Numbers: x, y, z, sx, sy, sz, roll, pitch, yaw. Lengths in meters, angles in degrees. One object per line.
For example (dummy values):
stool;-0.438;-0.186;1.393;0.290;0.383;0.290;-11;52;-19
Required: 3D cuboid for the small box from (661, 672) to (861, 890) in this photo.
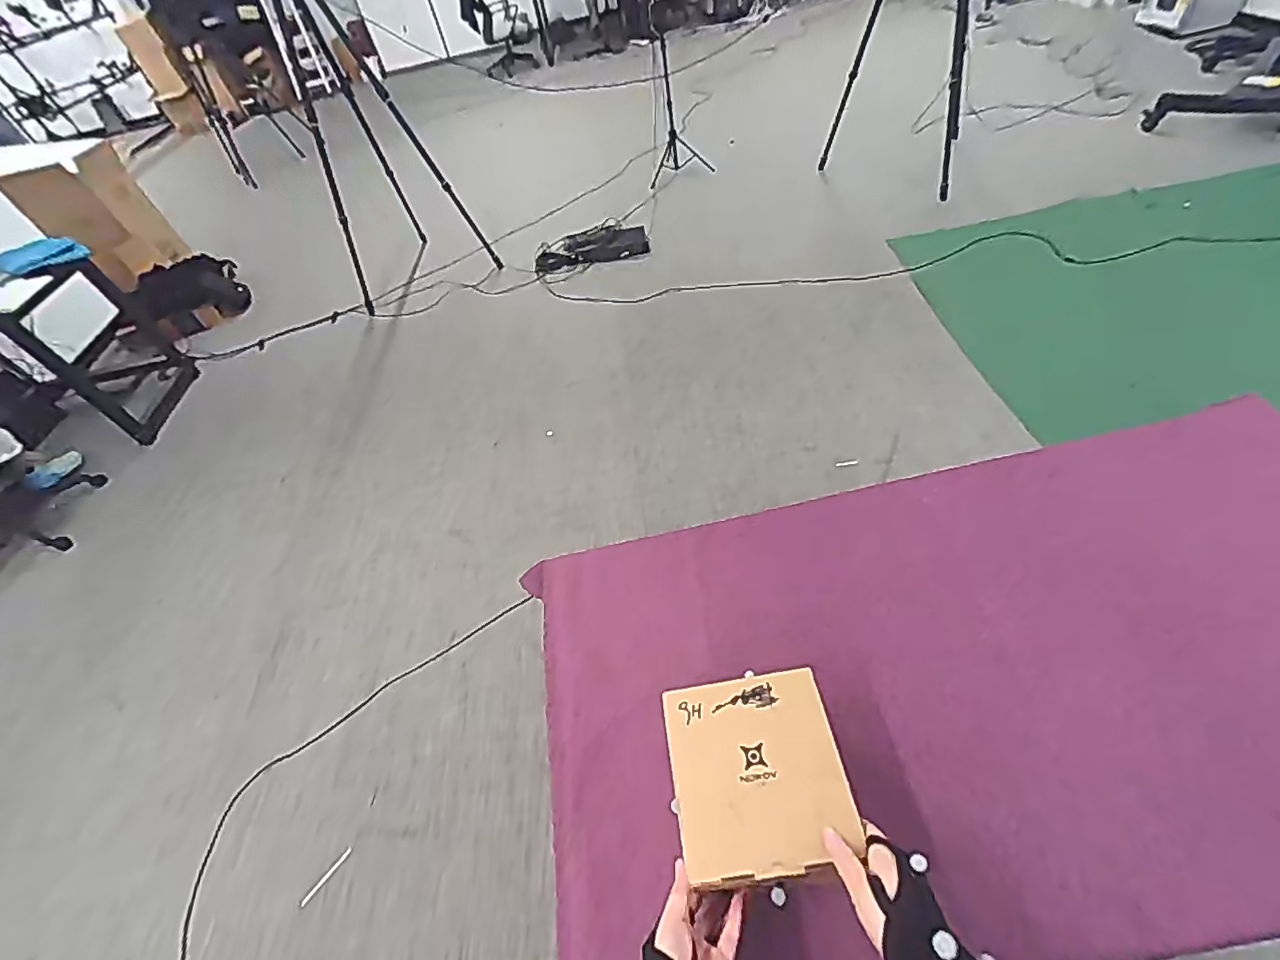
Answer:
small box;0.122;0.334;0.592;0.168;0.176;0.179;-10;50;3
